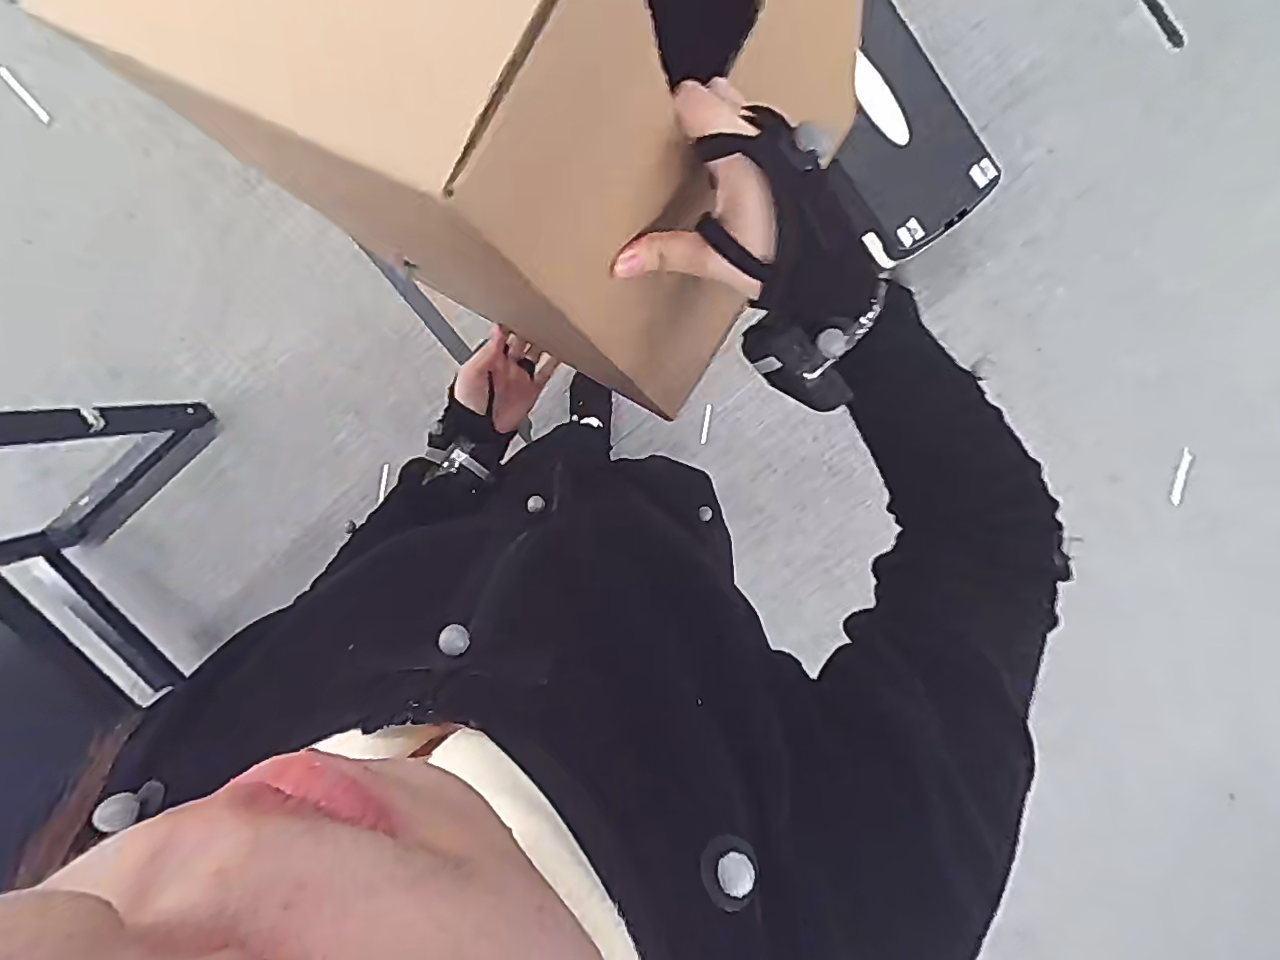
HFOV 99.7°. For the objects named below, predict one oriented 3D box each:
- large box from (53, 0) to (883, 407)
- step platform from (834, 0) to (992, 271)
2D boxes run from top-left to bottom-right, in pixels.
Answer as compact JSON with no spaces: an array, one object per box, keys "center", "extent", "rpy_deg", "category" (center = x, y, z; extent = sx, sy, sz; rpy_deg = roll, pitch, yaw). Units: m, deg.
[{"center":[-0.083,-0.304,0.394],"extent":[0.408,0.320,0.320],"rpy_deg":[32,91,23],"category":"large box"},{"center":[0.493,-0.852,1.236],"extent":[0.286,0.204,0.684],"rpy_deg":[-33,97,6],"category":"step platform"}]
